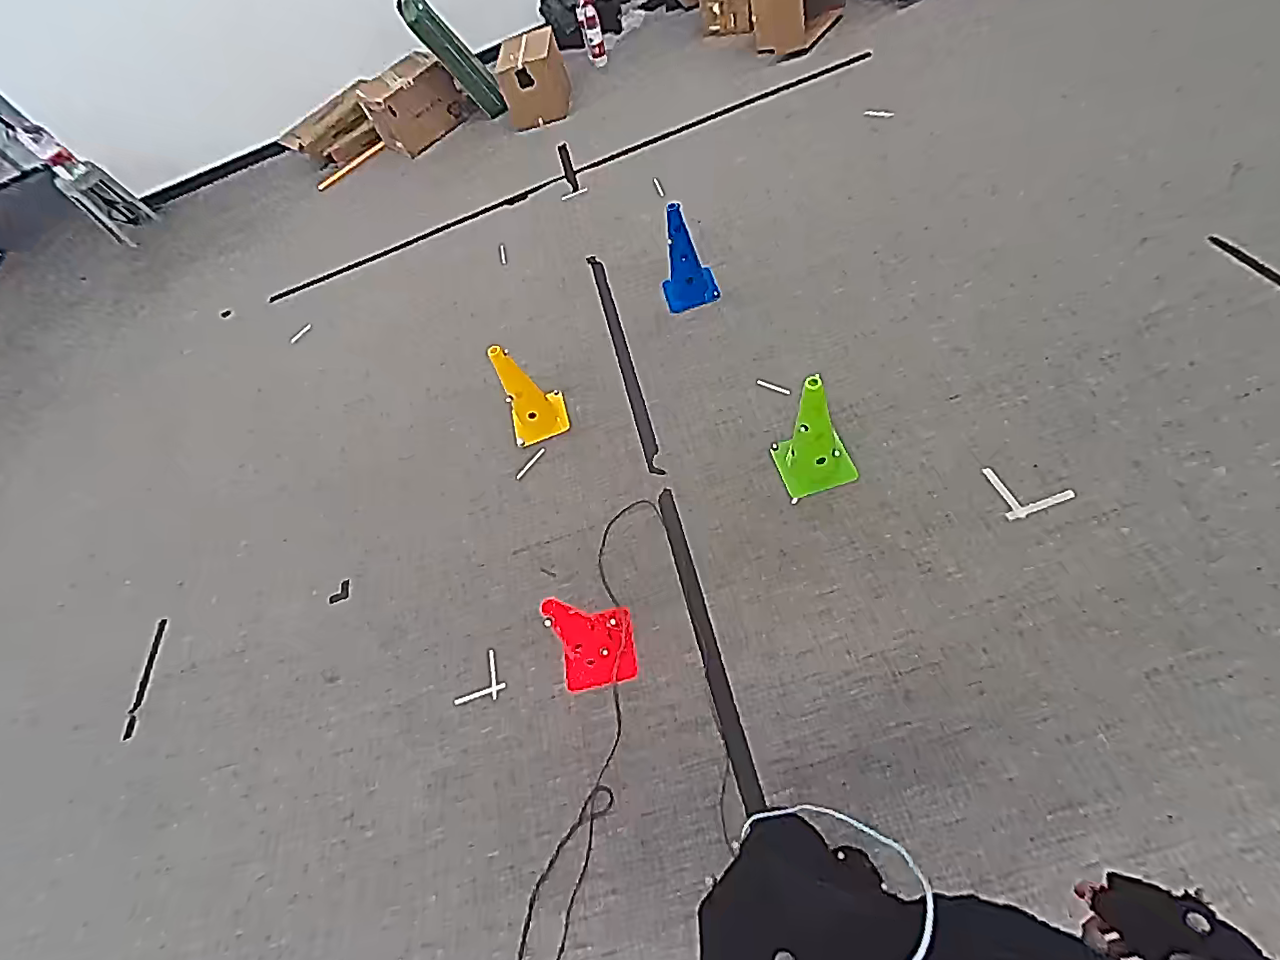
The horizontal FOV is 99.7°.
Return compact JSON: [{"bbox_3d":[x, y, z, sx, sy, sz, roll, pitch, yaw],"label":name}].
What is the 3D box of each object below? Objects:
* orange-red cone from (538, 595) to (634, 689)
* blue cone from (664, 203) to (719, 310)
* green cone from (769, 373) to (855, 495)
[{"bbox_3d":[-0.163,0.363,1.327,0.199,0.360,0.198,-16,54,9],"label":"orange-red cone"},{"bbox_3d":[0.158,-0.831,1.983,0.192,0.380,0.193,-15,56,7],"label":"blue cone"},{"bbox_3d":[0.460,-0.147,1.448,0.202,0.368,0.200,-18,56,4],"label":"green cone"}]
